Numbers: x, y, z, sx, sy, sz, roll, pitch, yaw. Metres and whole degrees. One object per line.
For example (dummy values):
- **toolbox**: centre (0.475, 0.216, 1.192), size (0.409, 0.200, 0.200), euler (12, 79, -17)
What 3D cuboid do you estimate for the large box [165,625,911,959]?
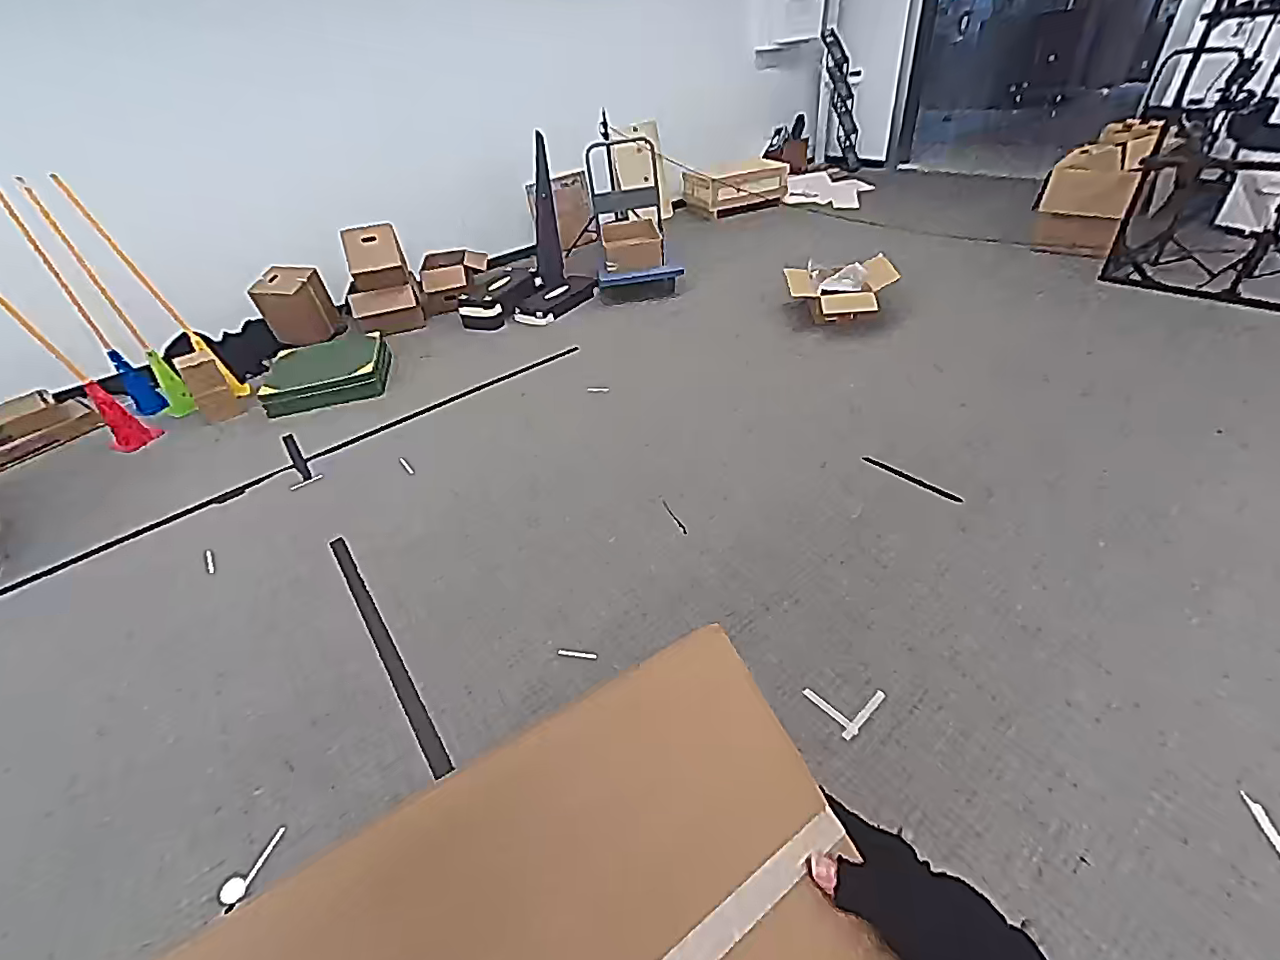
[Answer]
- **large box**: centre (-0.074, 0.377, 0.422), size (0.408, 0.320, 0.320), euler (-23, 73, -28)
